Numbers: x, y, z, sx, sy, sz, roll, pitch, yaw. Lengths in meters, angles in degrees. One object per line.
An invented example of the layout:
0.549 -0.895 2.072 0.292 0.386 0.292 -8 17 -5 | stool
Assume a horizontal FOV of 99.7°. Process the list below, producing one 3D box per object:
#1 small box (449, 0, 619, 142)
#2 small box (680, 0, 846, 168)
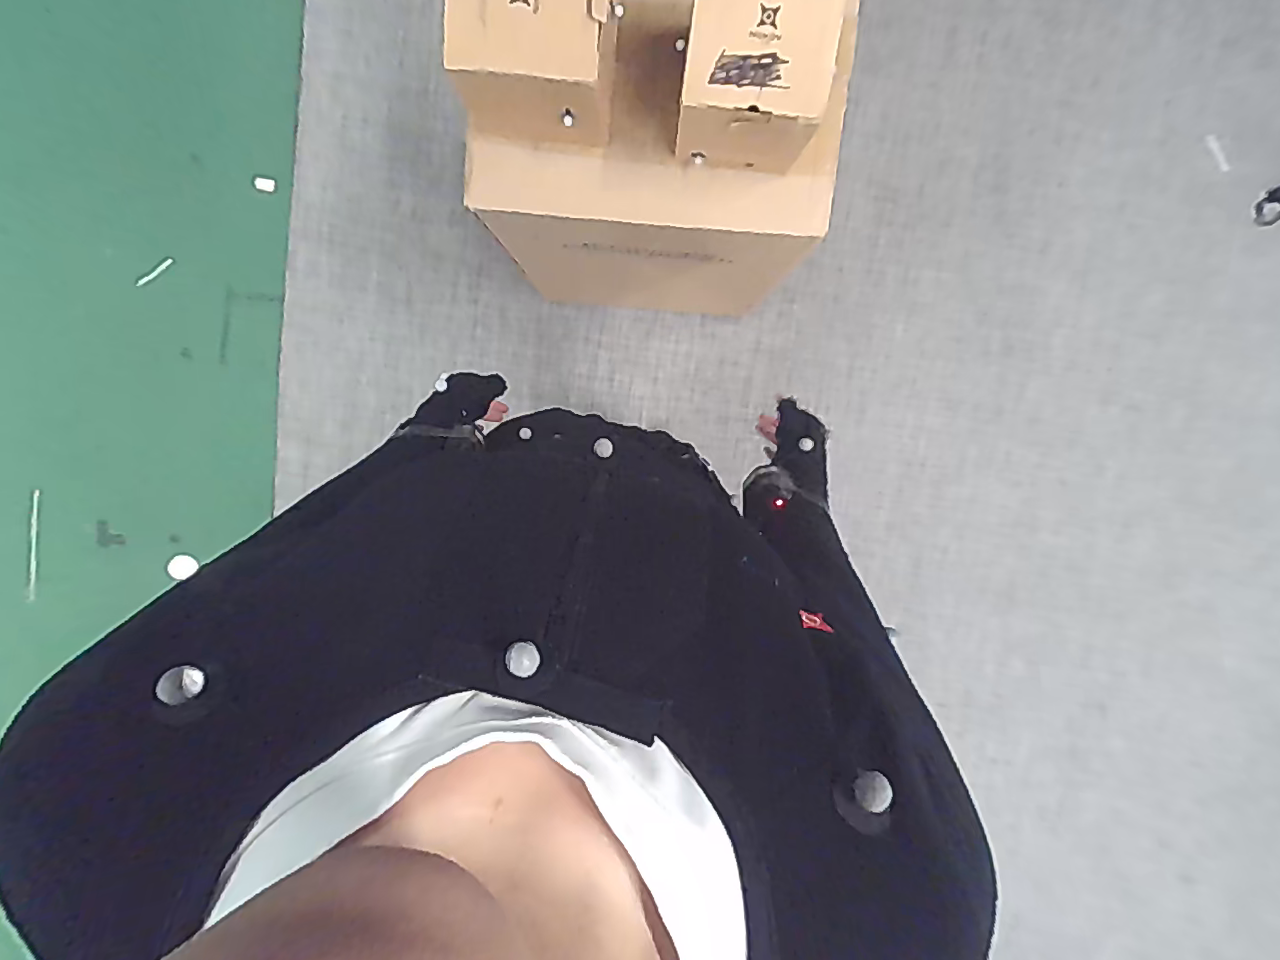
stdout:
-0.121 -0.549 0.677 0.179 0.176 0.168 5 99 2 | small box
0.142 -0.516 0.671 0.168 0.176 0.179 8 101 0 | small box
